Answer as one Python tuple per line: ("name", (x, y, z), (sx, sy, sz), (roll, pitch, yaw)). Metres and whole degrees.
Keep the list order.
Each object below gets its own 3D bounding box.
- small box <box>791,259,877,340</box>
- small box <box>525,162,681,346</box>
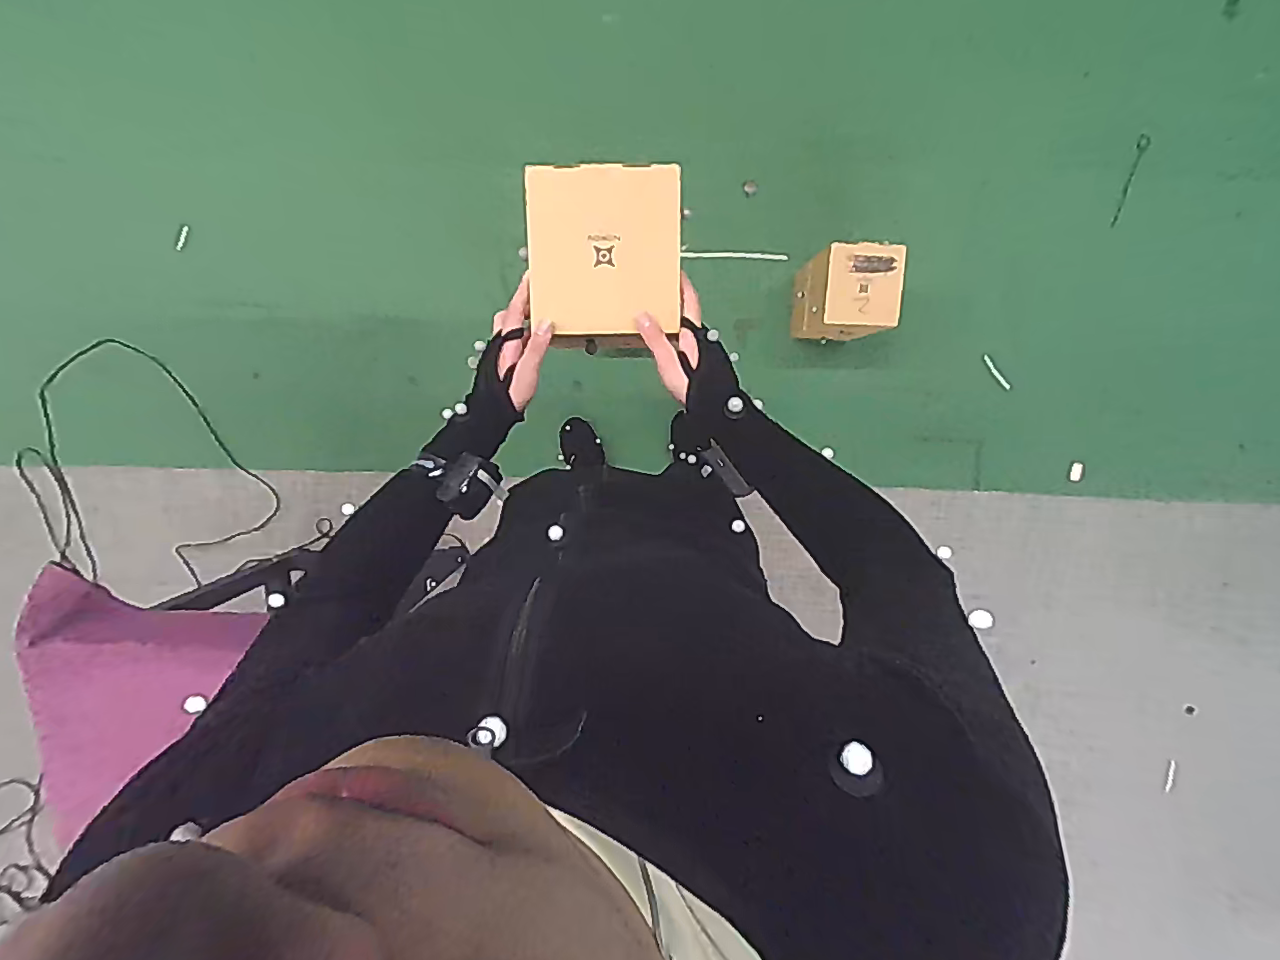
("small box", (0.507, -0.474, 1.436), (0.168, 0.176, 0.179), (4, 100, 3))
("small box", (-0.037, -0.256, 0.653), (0.168, 0.176, 0.179), (-1, 98, 0))
